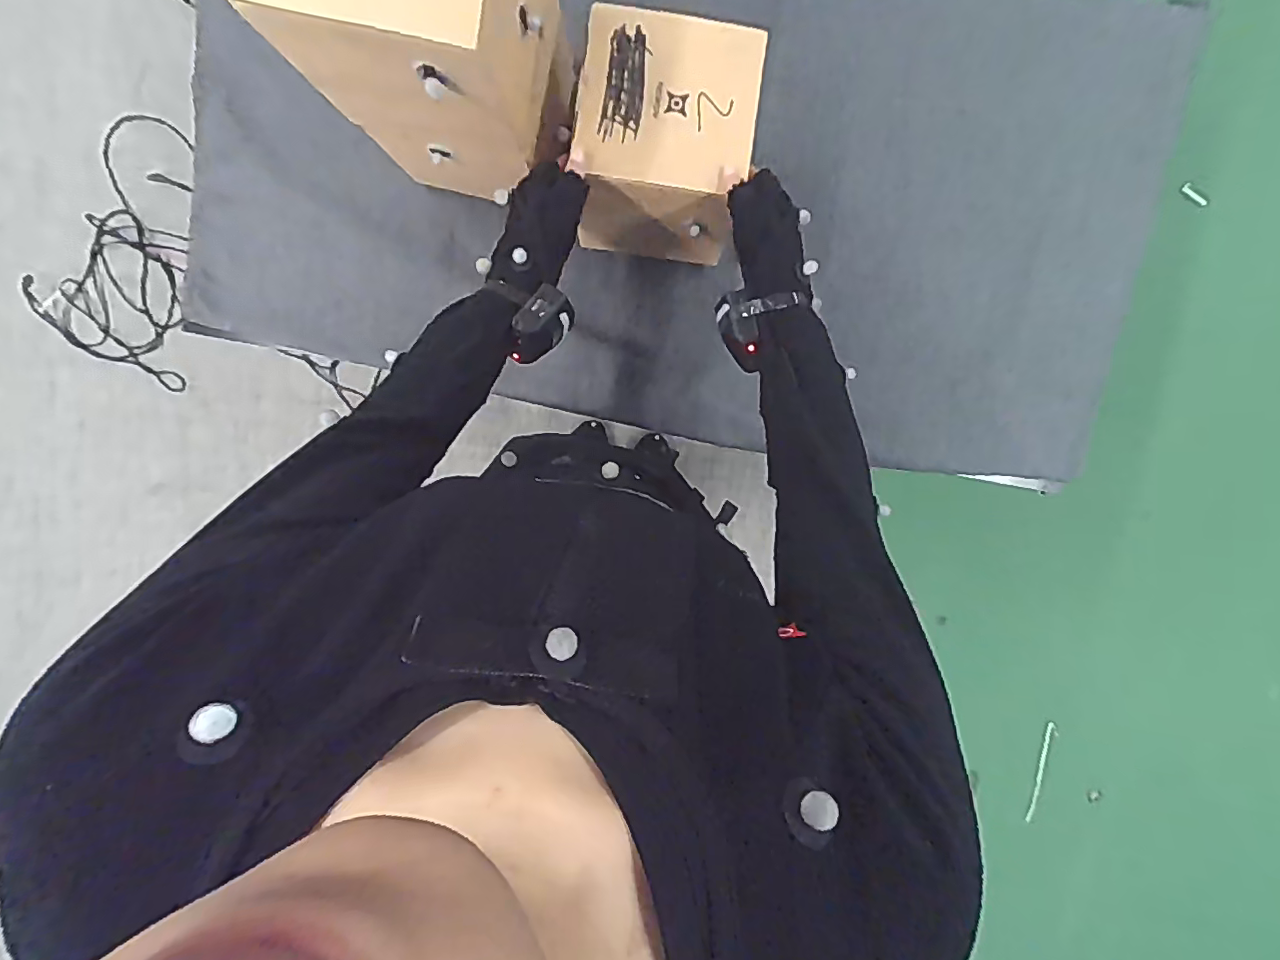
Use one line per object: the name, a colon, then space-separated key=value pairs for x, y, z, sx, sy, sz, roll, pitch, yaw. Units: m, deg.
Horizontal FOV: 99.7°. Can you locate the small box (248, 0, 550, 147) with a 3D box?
small box: x=-0.178 y=-0.407 z=0.444 sx=0.179 sy=0.176 sz=0.168 roll=11 pitch=97 yaw=-2
